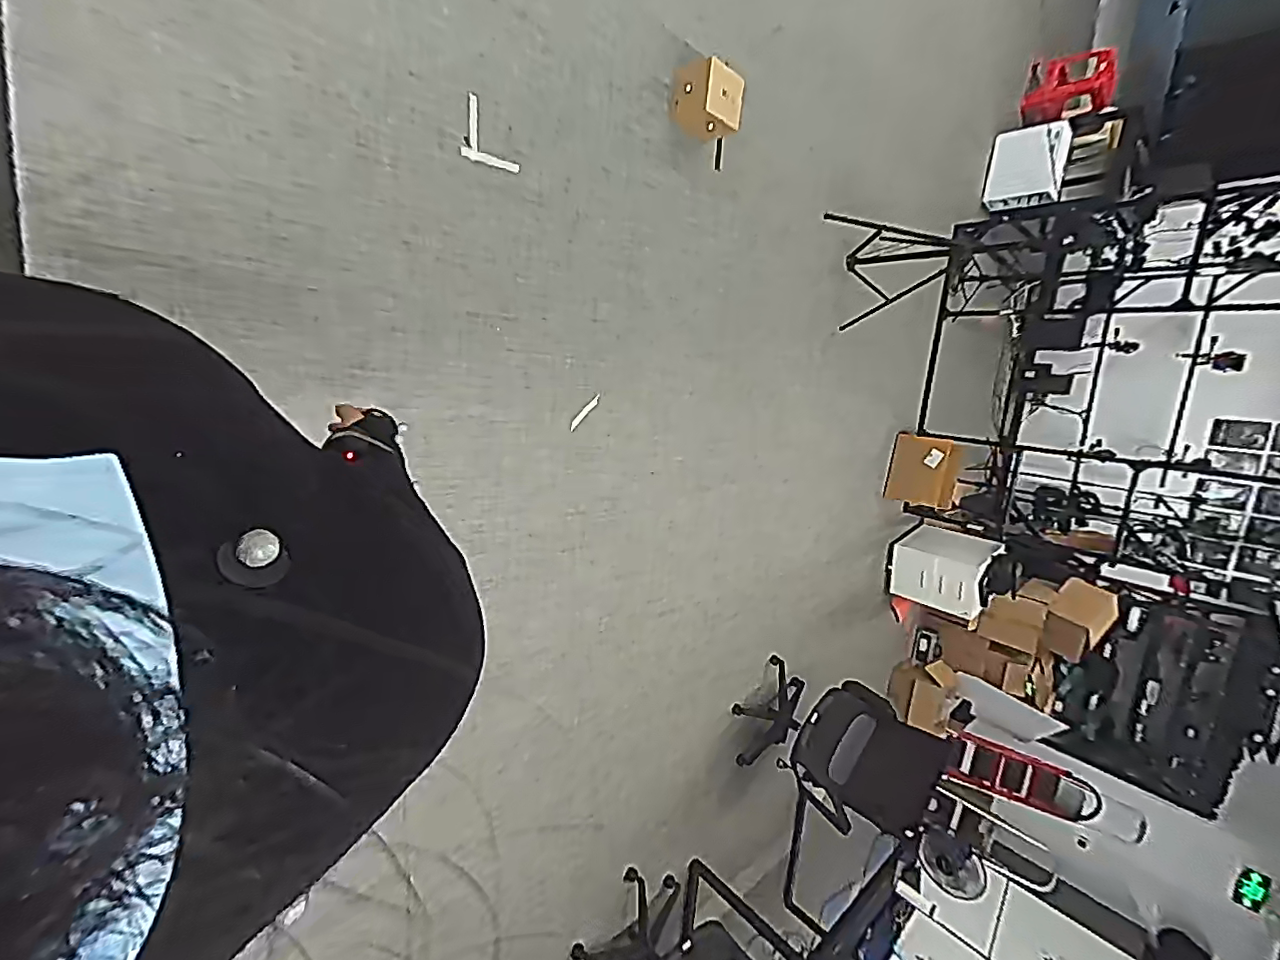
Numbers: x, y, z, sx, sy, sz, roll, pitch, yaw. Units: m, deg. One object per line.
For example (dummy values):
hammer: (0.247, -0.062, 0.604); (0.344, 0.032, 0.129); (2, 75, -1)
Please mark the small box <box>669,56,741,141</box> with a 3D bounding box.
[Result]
small box: (0.223, -1.310, 1.874); (0.179, 0.176, 0.168); (-1, 102, -44)
